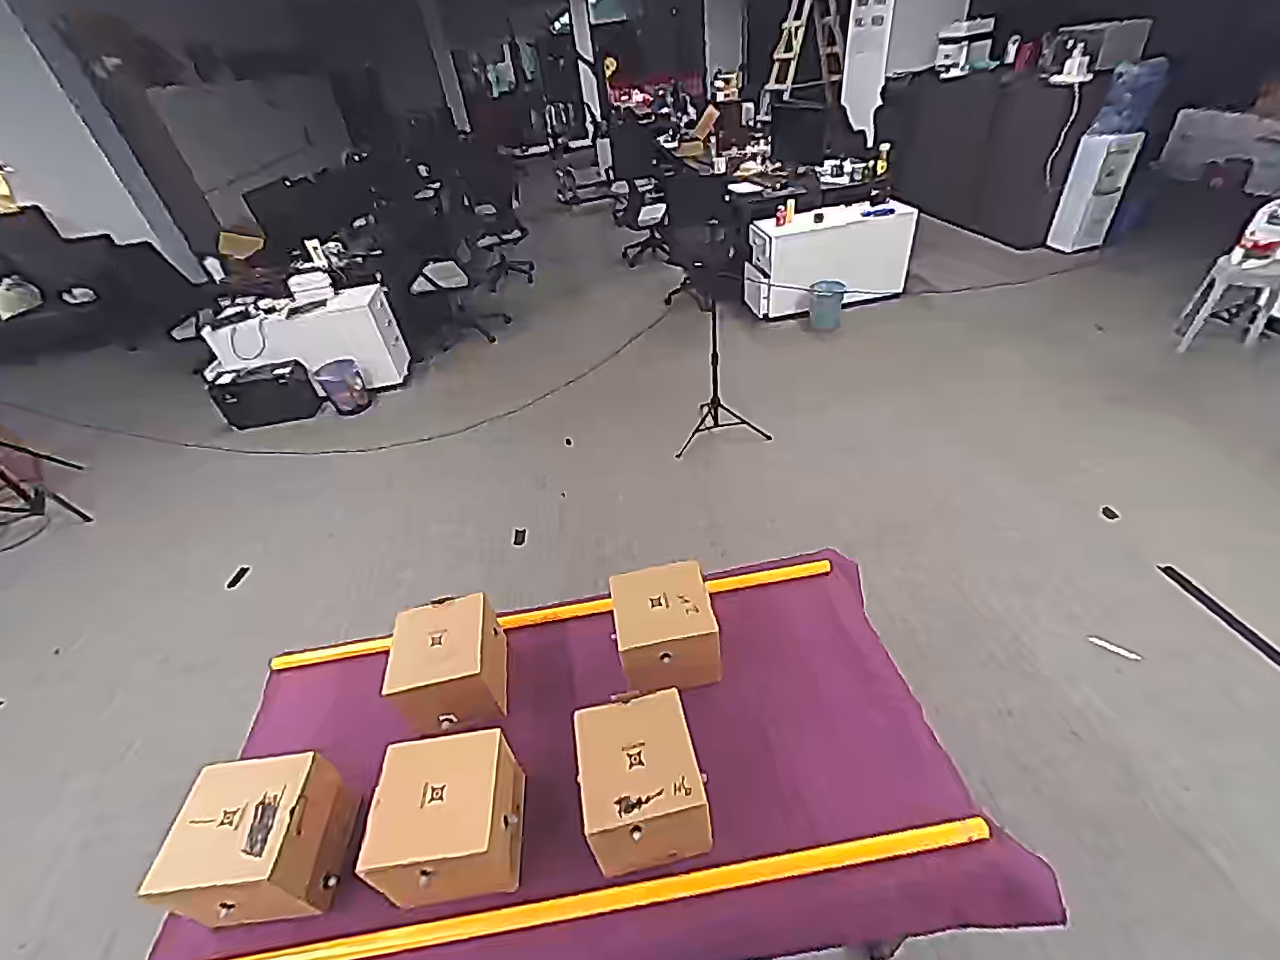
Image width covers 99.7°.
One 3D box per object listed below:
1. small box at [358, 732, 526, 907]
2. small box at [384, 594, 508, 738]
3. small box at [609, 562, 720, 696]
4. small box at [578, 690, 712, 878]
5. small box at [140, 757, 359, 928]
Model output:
[{"bbox_3d":[-0.276,0.505,0.805,0.179,0.176,0.168,-9,38,0],"label":"small box"},{"bbox_3d":[-0.350,0.348,1.013,0.168,0.176,0.179,-12,40,-4],"label":"small box"},{"bbox_3d":[0.047,0.283,1.019,0.179,0.176,0.168,-10,40,-2],"label":"small box"},{"bbox_3d":[0.005,0.455,0.815,0.168,0.176,0.179,-12,36,-4],"label":"small box"},{"bbox_3d":[-0.557,0.541,0.807,0.179,0.176,0.168,-7,39,1],"label":"small box"}]
